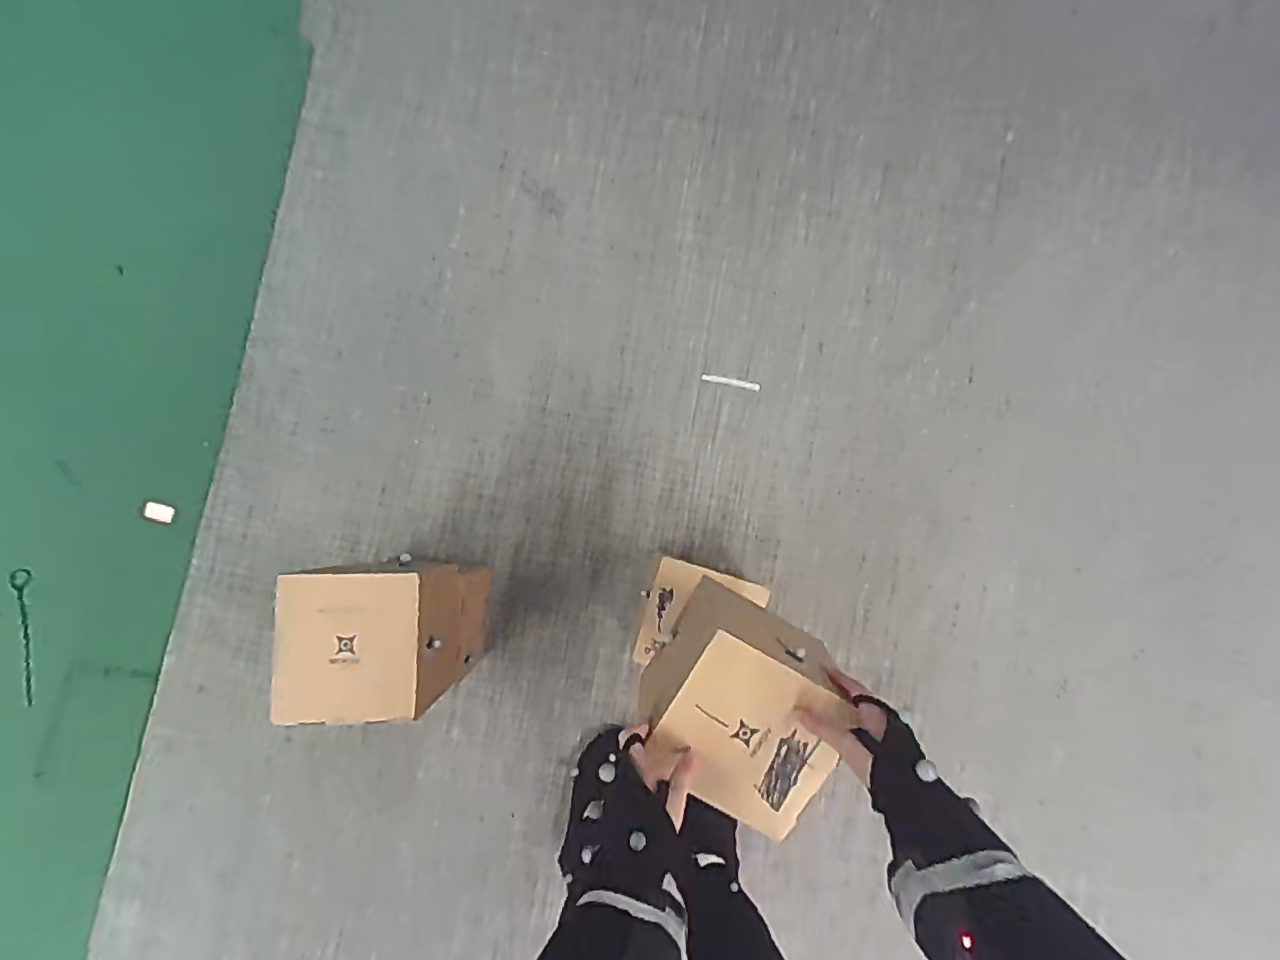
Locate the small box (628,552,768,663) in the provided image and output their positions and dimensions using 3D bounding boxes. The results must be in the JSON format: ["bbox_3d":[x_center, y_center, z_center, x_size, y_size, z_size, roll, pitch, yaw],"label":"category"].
[{"bbox_3d":[0.086,0.223,0.898,0.179,0.176,0.168,17,85,-2],"label":"small box"}]

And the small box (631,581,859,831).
[{"bbox_3d":[0.107,0.240,0.620,0.179,0.176,0.168,29,98,-2],"label":"small box"}]

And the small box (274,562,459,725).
[{"bbox_3d":[-0.347,0.205,0.717,0.168,0.176,0.179,0,85,-3],"label":"small box"}]
